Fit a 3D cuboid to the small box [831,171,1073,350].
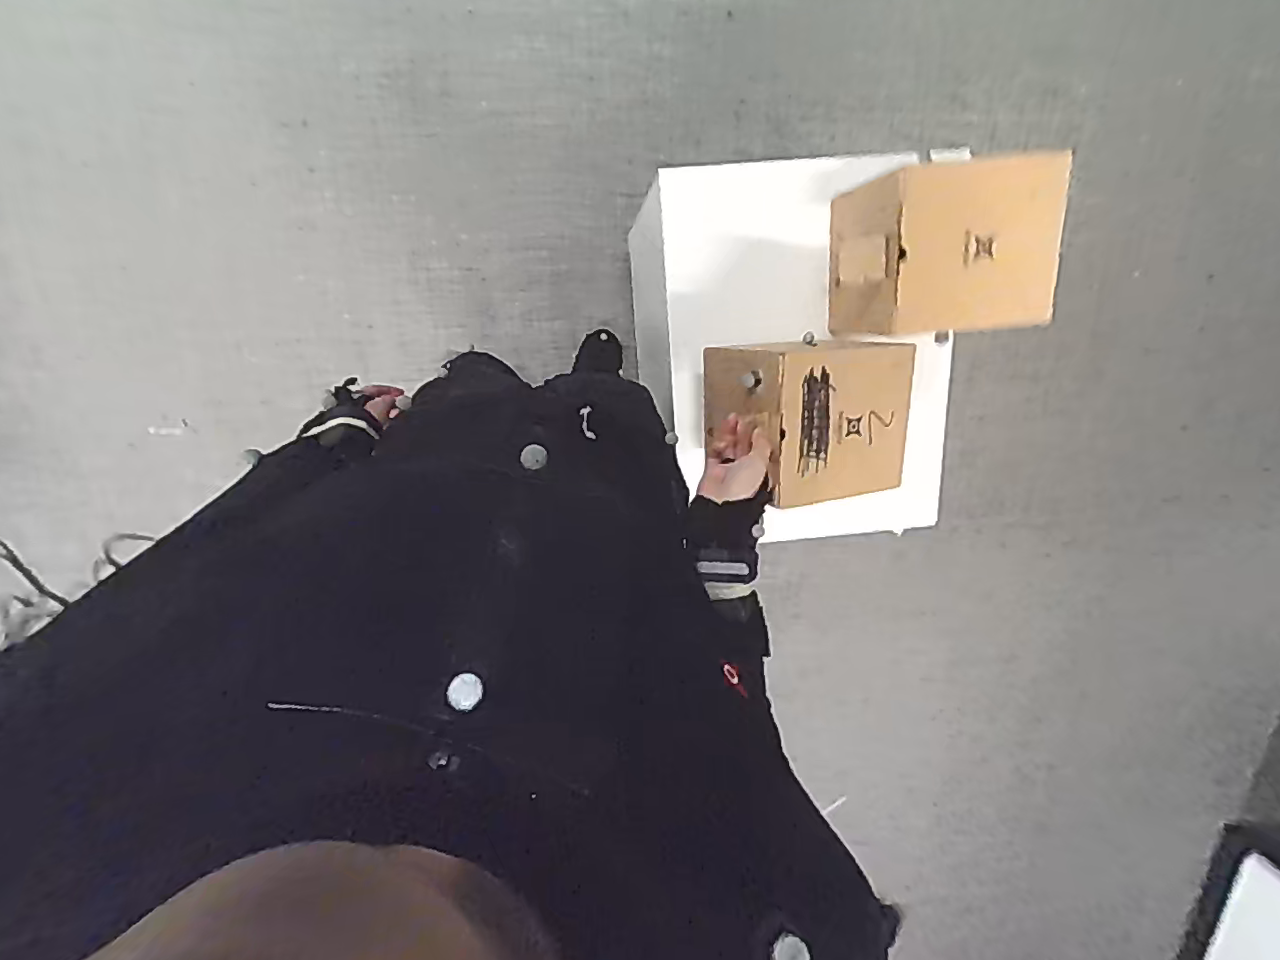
[{"bbox_3d":[0.346,-0.248,0.634,0.179,0.176,0.168,-6,107,-2],"label":"small box"}]
